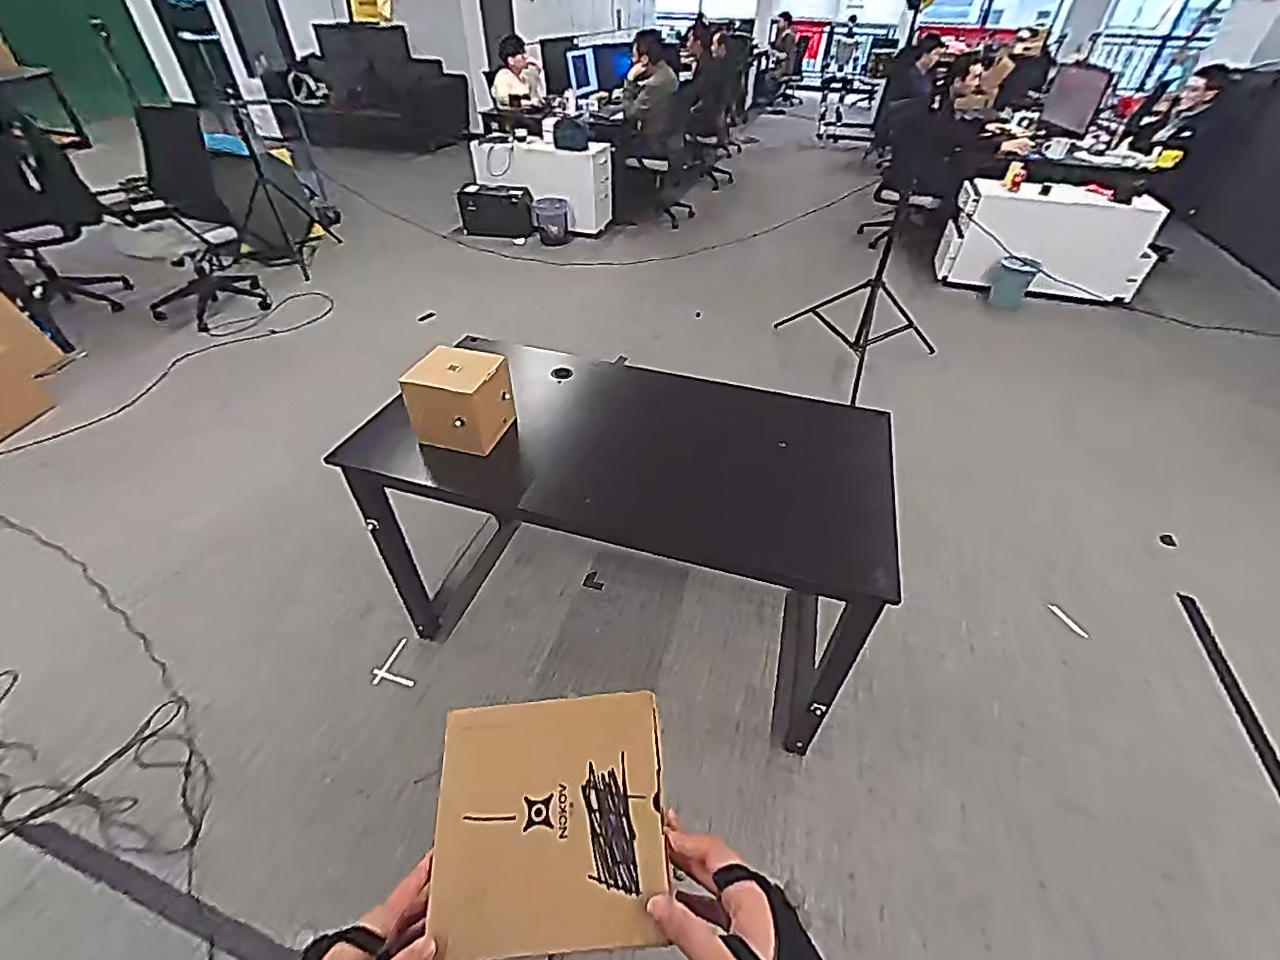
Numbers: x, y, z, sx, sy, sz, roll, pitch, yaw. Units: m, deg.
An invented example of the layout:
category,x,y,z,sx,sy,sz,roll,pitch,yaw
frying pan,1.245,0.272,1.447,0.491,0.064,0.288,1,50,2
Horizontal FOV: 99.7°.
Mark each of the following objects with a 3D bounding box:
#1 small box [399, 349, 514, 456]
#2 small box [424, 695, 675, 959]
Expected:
category,x,y,z,sx,sy,sz,roll,pitch,yaw
small box,-0.404,-0.173,1.228,0.179,0.176,0.168,10,42,11
small box,-0.064,0.299,0.481,0.179,0.176,0.168,-6,56,1
